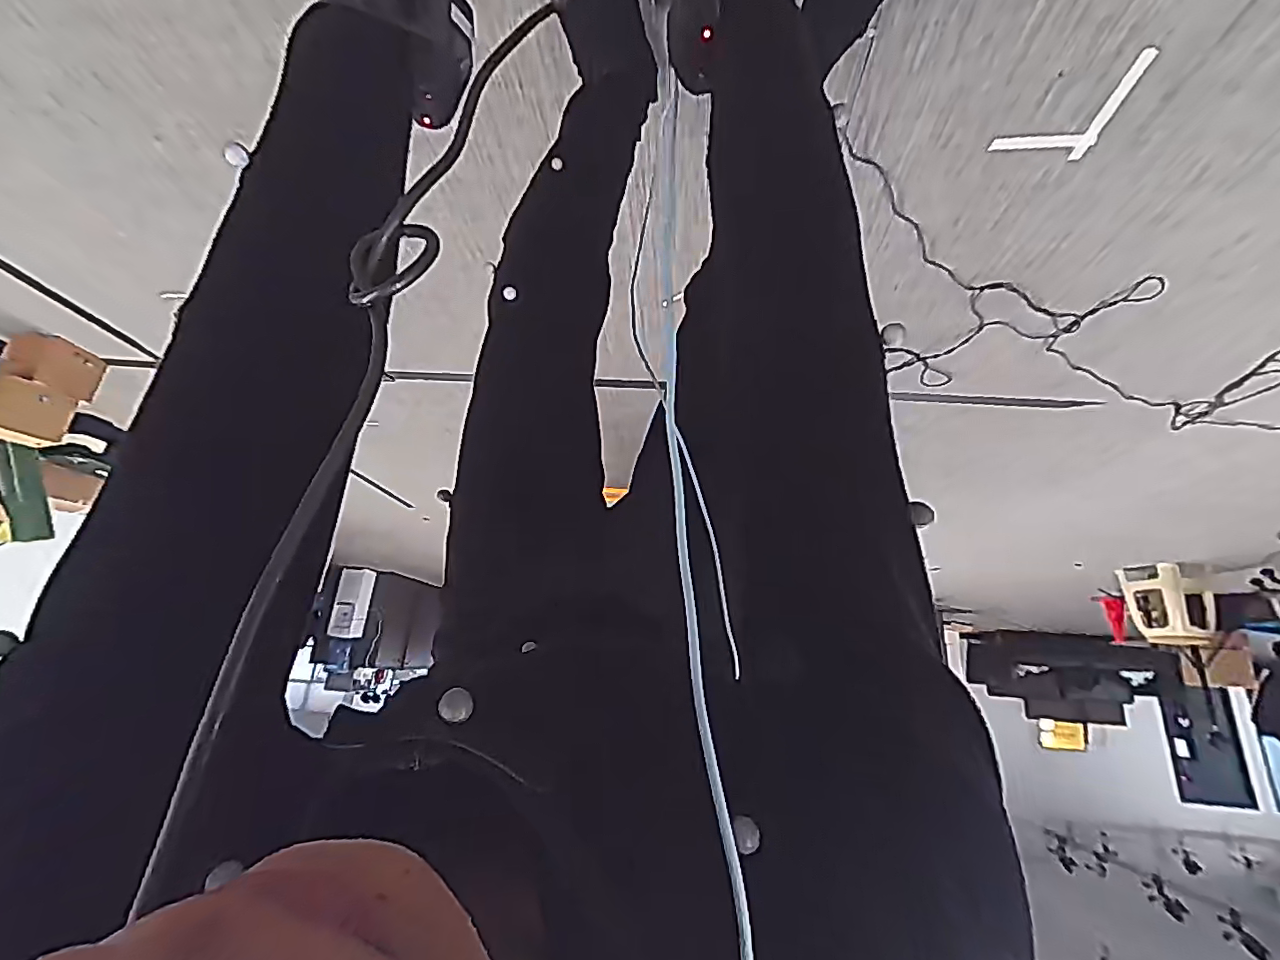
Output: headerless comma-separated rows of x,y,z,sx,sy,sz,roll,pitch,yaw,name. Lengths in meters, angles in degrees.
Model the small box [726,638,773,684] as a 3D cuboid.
0.449,0.749,2.235,0.168,0.176,0.179,4,161,2,small box
